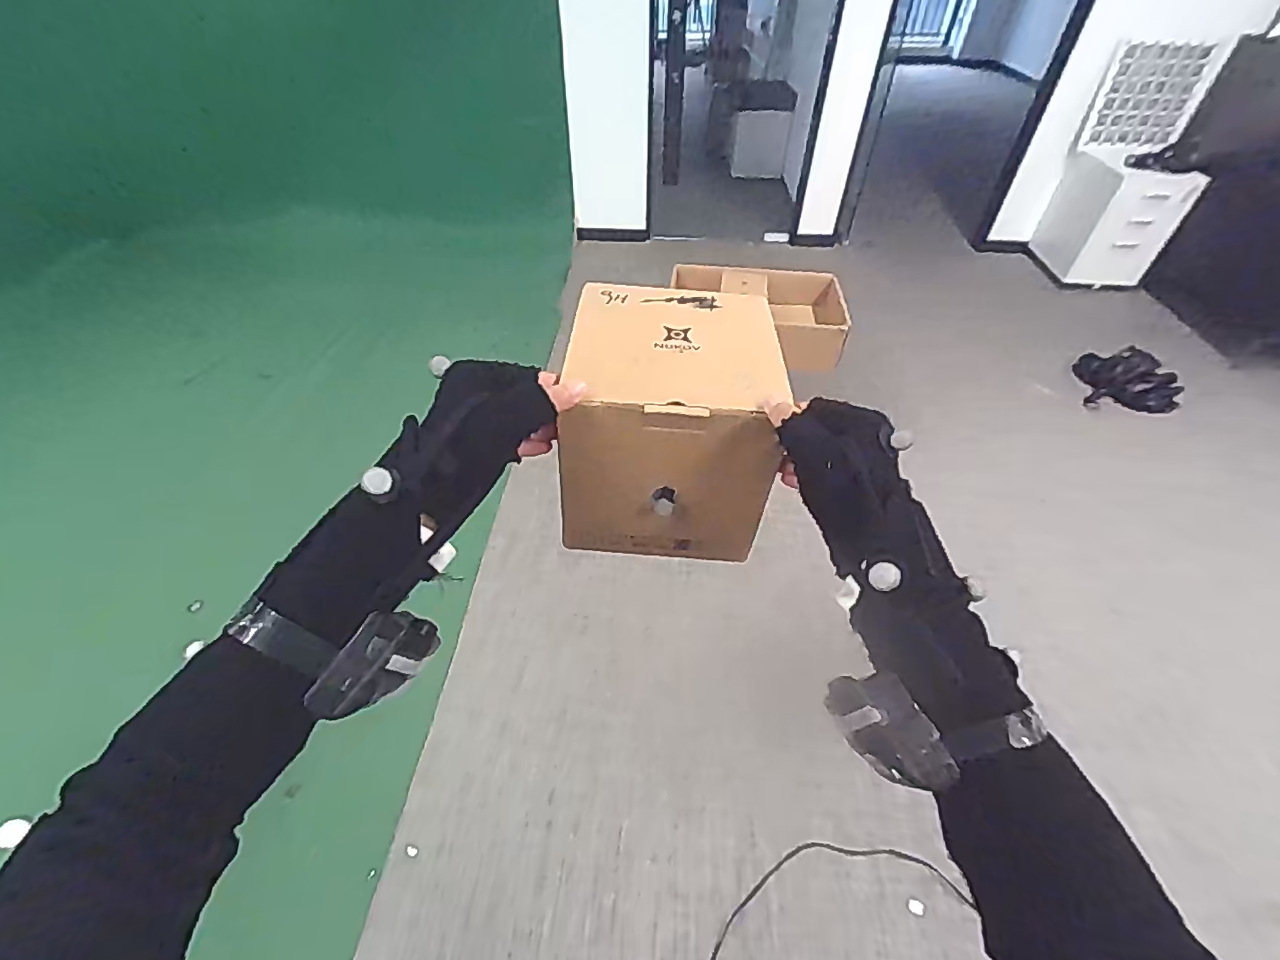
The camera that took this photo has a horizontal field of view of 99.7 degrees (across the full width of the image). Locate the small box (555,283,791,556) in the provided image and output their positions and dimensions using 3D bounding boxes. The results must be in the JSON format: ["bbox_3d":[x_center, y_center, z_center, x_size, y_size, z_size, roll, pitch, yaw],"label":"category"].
[{"bbox_3d":[0.022,-0.050,0.481,0.168,0.176,0.179,5,46,-2],"label":"small box"}]

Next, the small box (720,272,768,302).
[{"bbox_3d":[0.372,-0.640,1.984,0.168,0.176,0.179,8,44,4],"label":"small box"}]
